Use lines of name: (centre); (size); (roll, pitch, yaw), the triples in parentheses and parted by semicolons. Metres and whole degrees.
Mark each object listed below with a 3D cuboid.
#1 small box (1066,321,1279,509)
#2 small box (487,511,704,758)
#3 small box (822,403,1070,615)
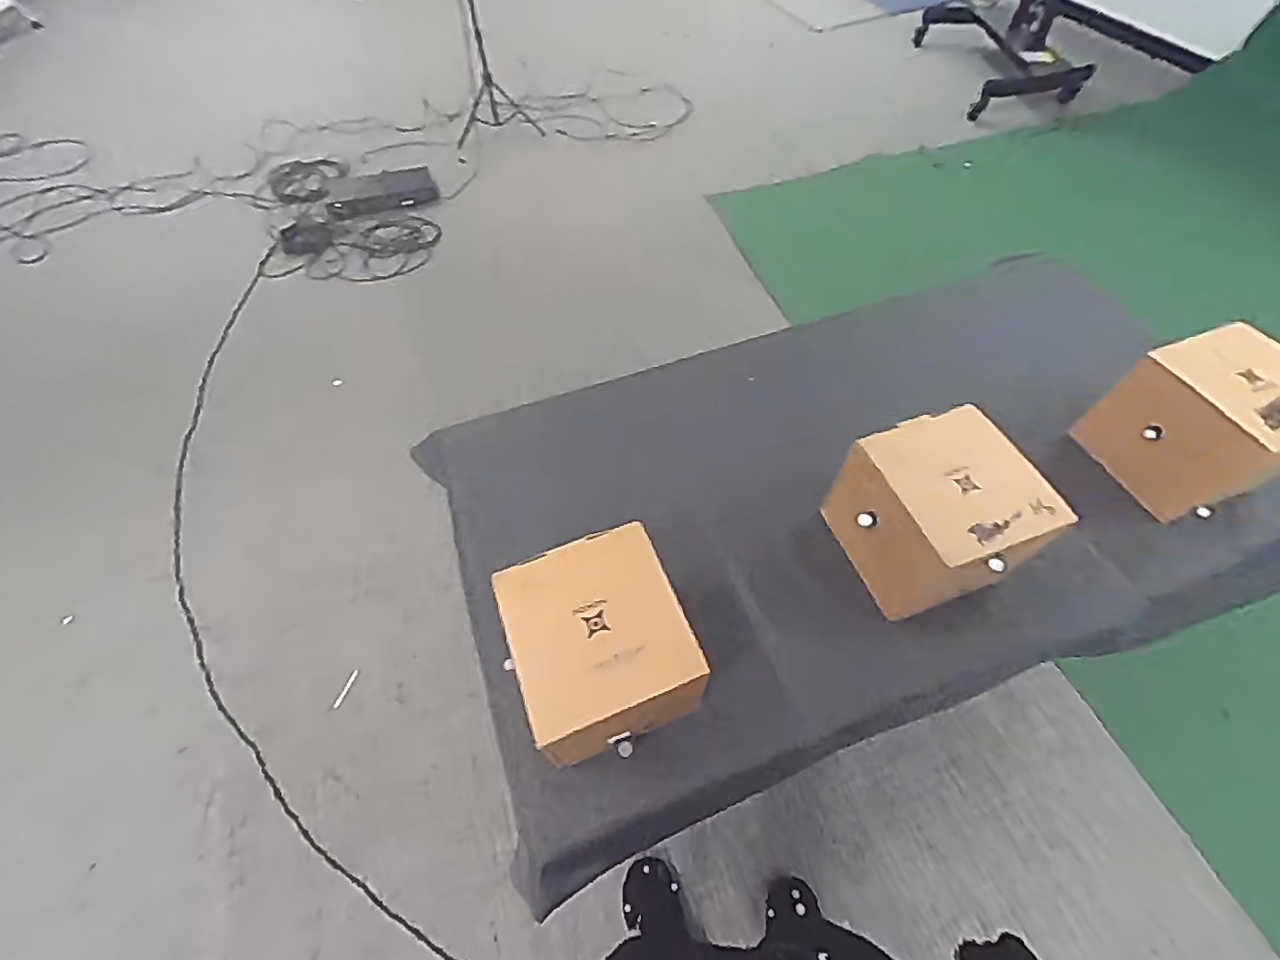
small box: (0.752, -0.079, 0.736); (0.168, 0.176, 0.179); (-18, 57, -10)
small box: (-0.045, 0.166, 0.569); (0.168, 0.176, 0.179); (-19, 58, -9)
small box: (0.353, 0.039, 0.669); (0.168, 0.176, 0.179); (-18, 58, -10)
